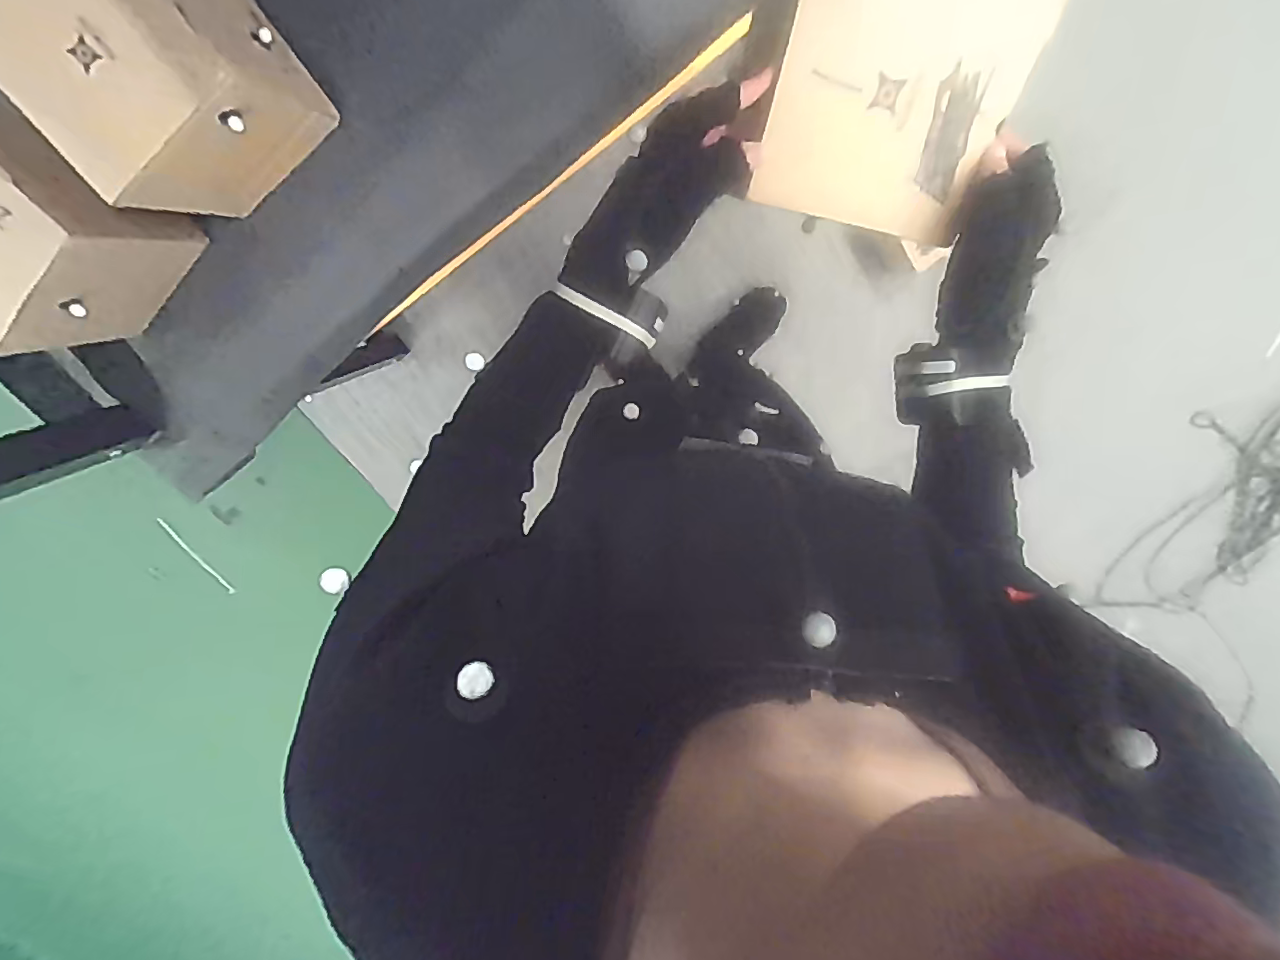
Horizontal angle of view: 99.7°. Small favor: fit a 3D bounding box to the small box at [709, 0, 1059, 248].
[{"bbox_3d":[0.169,-0.305,0.442,0.179,0.176,0.168,9,120,-7],"label":"small box"}]
